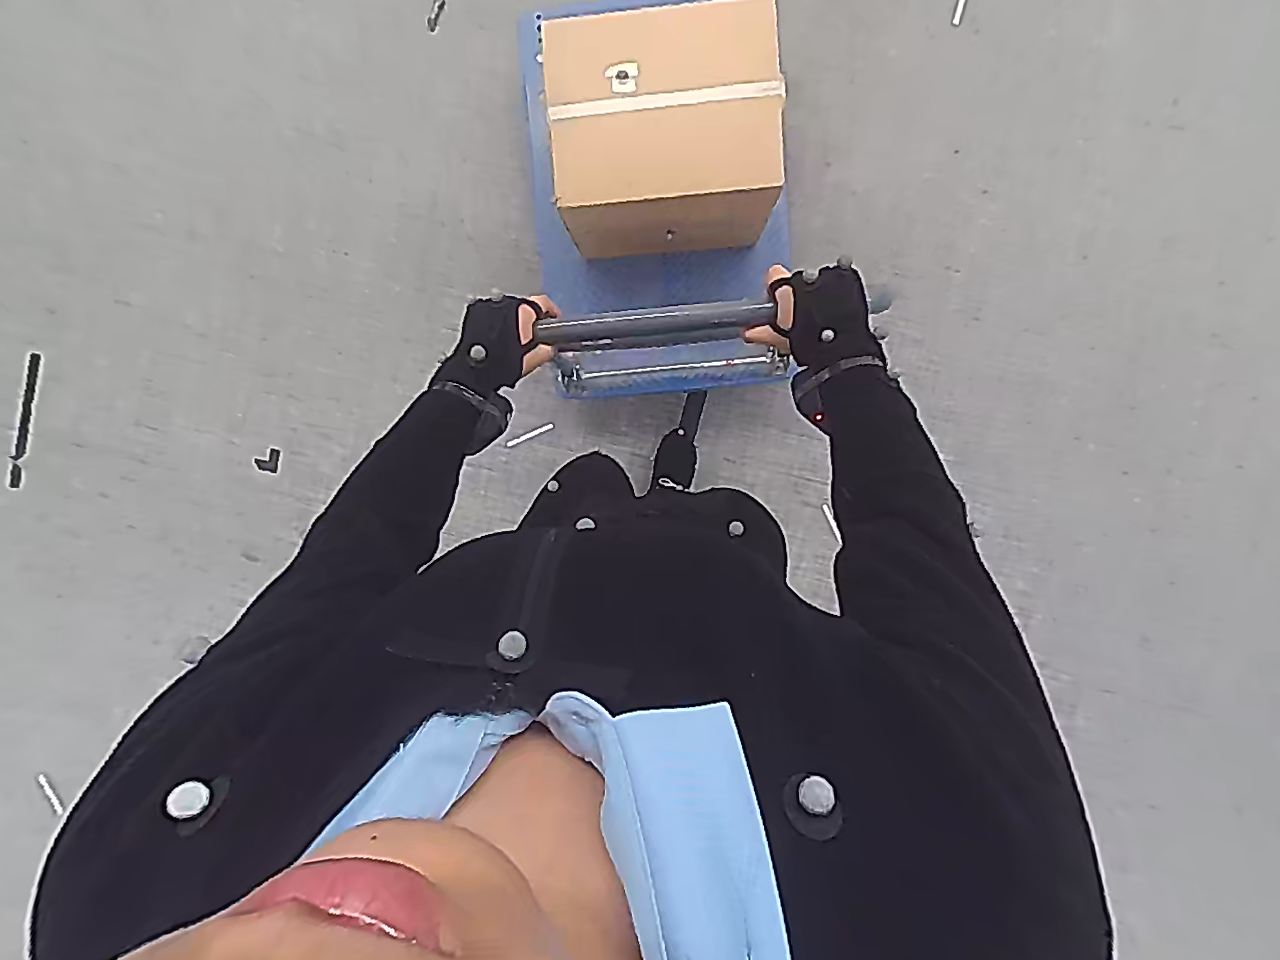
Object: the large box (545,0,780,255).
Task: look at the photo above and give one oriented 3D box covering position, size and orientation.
[{"bbox_3d":[0.051,-0.679,1.105,0.408,0.320,0.320,-4,95,5],"label":"large box"}]
